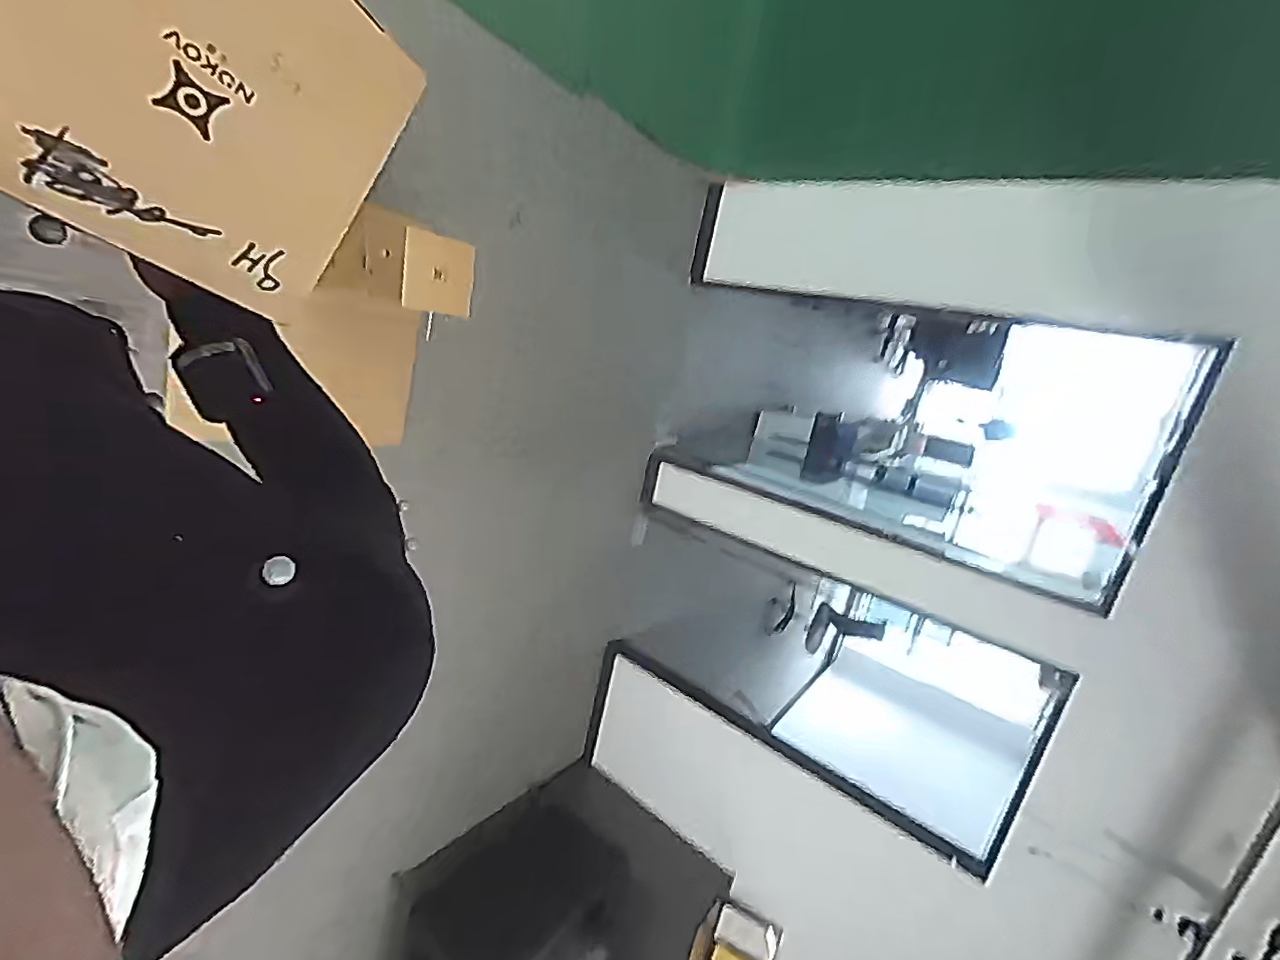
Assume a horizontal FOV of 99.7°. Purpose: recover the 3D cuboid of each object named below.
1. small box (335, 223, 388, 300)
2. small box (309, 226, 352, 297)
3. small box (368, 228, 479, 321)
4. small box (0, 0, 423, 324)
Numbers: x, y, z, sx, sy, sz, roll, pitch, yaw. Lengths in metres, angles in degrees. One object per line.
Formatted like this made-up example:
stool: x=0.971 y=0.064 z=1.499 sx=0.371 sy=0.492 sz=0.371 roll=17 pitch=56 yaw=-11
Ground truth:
small box: x=-0.629 y=-0.525 z=1.335 sx=0.179 sy=0.176 sz=0.168 roll=-10 pitch=115 yaw=-53
small box: x=-0.756 y=-0.573 z=1.425 sx=0.179 sy=0.176 sz=0.168 roll=-14 pitch=119 yaw=-51
small box: x=-0.503 y=-0.472 z=1.248 sx=0.179 sy=0.176 sz=0.168 roll=-9 pitch=114 yaw=-53
small box: x=-0.263 y=-0.220 z=0.290 sx=0.179 sy=0.176 sz=0.168 roll=-60 pitch=148 yaw=2
